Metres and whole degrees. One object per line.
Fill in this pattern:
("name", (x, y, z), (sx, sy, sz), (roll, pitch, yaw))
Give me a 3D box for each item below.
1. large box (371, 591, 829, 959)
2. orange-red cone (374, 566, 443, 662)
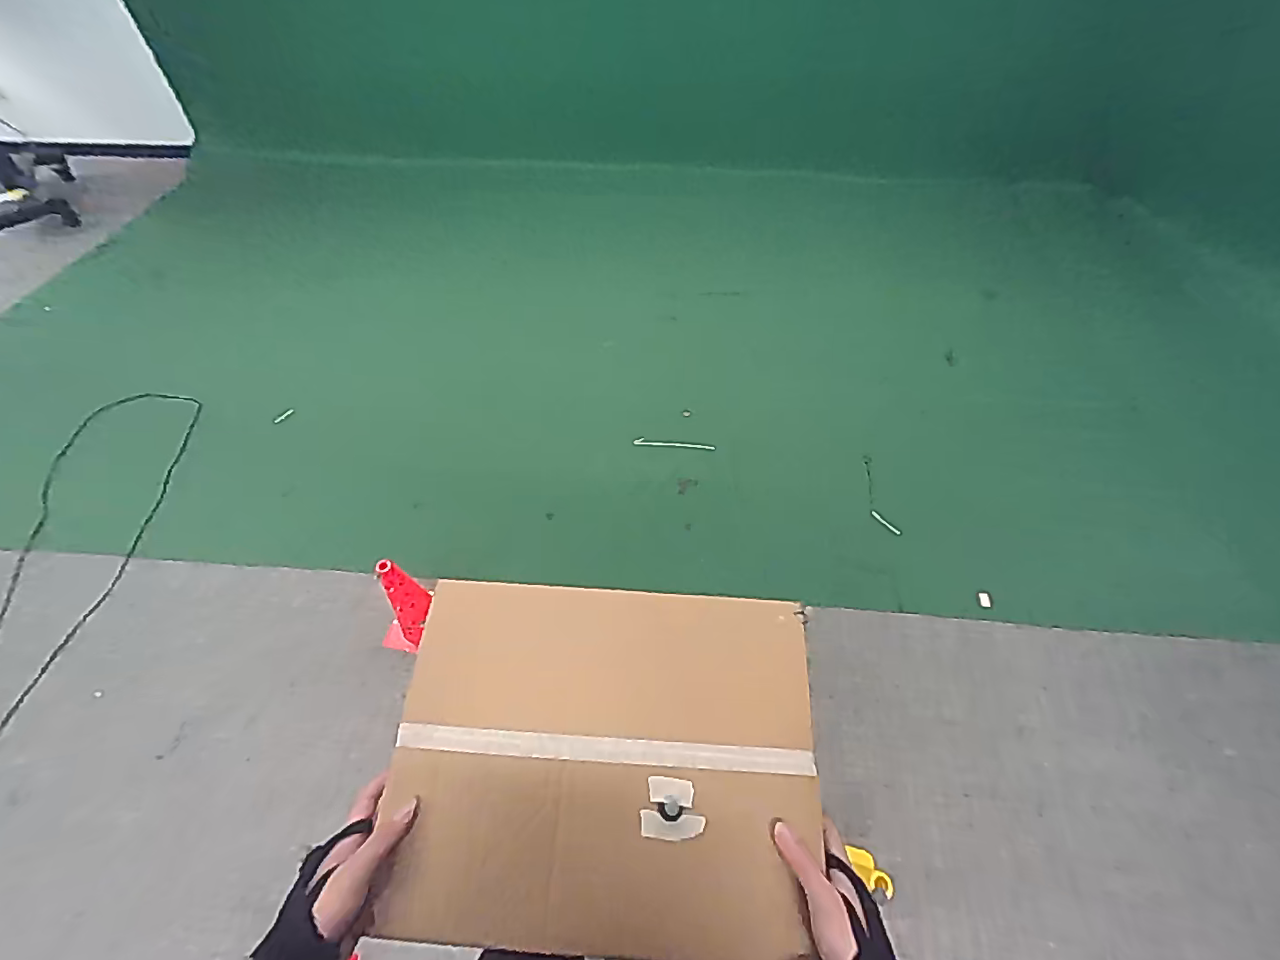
("large box", (-0.032, 0.339, 0.662), (0.408, 0.320, 0.320), (3, 62, 1))
("orange-red cone", (-0.672, 0.351, 1.539), (0.199, 0.360, 0.198), (8, 51, 9))
